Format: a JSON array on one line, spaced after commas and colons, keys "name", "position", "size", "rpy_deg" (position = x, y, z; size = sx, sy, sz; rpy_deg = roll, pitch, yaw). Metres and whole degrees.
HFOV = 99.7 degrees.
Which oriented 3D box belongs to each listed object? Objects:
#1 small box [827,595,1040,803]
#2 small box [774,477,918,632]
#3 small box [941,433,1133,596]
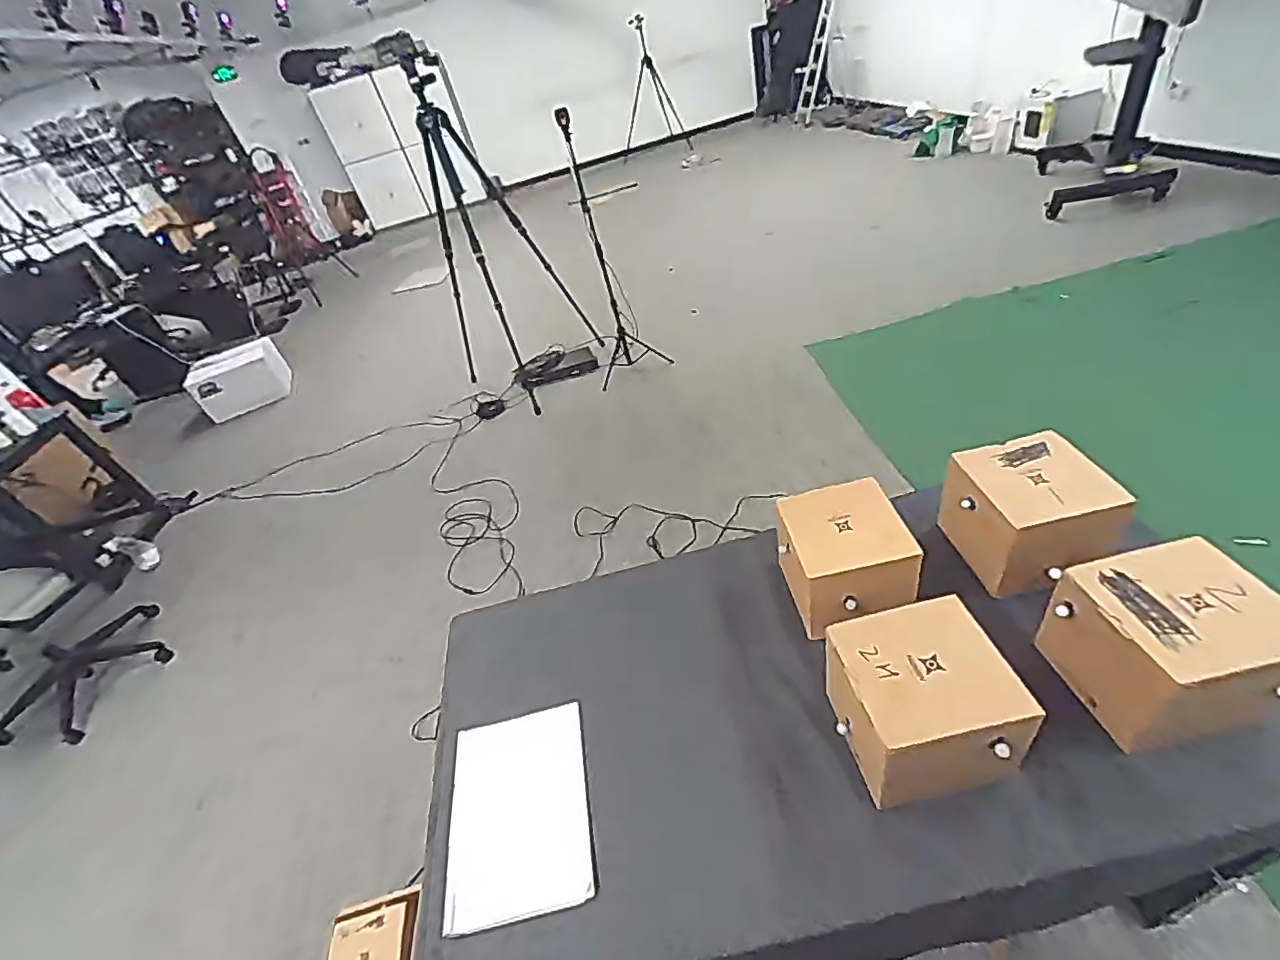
[{"name": "small box", "position": [0.351, 0.278, 0.687], "size": [0.179, 0.176, 0.168], "rpy_deg": [-15, 38, 3]}, {"name": "small box", "position": [0.327, 0.127, 0.879], "size": [0.168, 0.176, 0.179], "rpy_deg": [-13, 39, 5]}, {"name": "small box", "position": [0.607, 0.055, 0.859], "size": [0.168, 0.176, 0.179], "rpy_deg": [-14, 40, 5]}]
